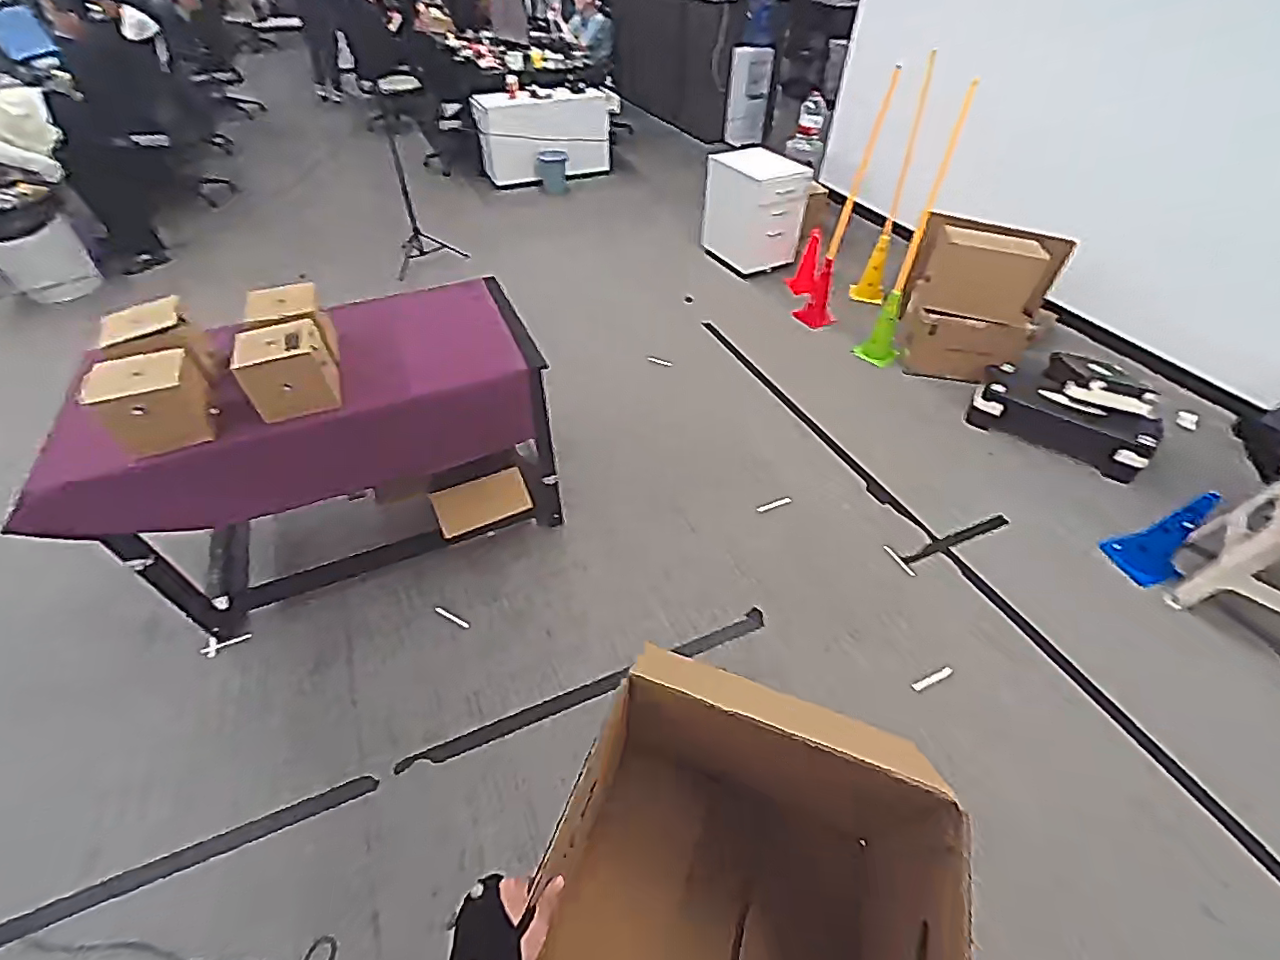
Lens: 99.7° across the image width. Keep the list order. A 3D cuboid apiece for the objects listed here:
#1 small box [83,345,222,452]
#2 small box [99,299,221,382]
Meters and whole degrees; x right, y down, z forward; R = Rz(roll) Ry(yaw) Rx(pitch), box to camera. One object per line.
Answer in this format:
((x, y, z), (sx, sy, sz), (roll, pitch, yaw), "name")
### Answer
((-1.133, -0.190, 1.273), (0.179, 0.176, 0.168), (-18, 50, -18), "small box")
((-1.247, -0.346, 1.418), (0.179, 0.176, 0.168), (-19, 51, -20), "small box")
